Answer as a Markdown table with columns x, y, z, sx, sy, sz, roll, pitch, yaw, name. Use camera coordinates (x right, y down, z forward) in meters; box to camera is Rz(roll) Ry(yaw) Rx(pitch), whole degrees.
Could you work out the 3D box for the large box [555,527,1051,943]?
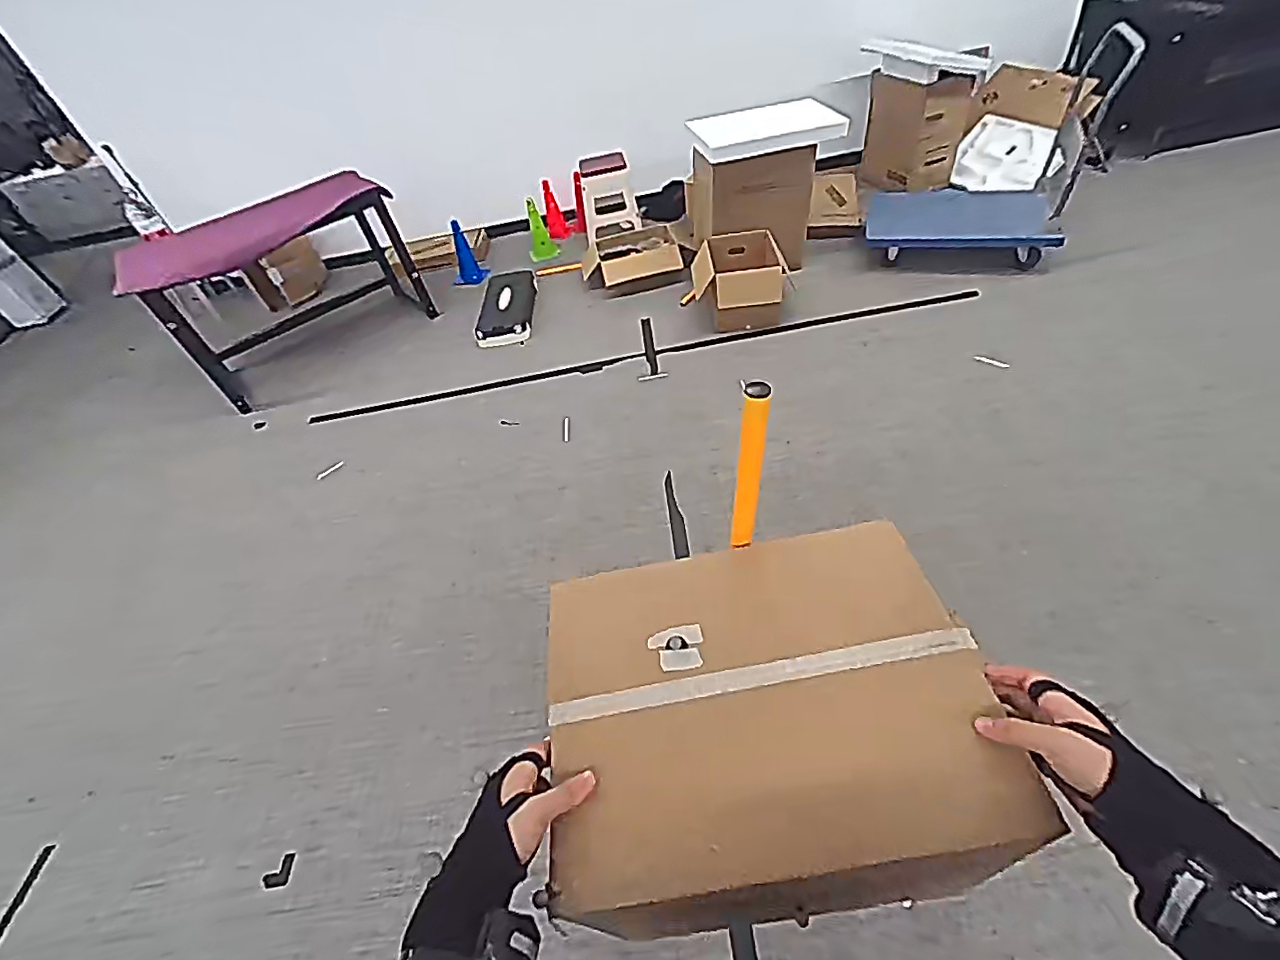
| x | y | z | sx | sy | sz | roll | pitch | yaw | name |
| --- | --- | --- | --- | --- | --- | --- | --- | --- | --- |
| 0.141 | 0.305 | 0.636 | 0.408 | 0.320 | 0.320 | -13 | 44 | 3 | large box |
